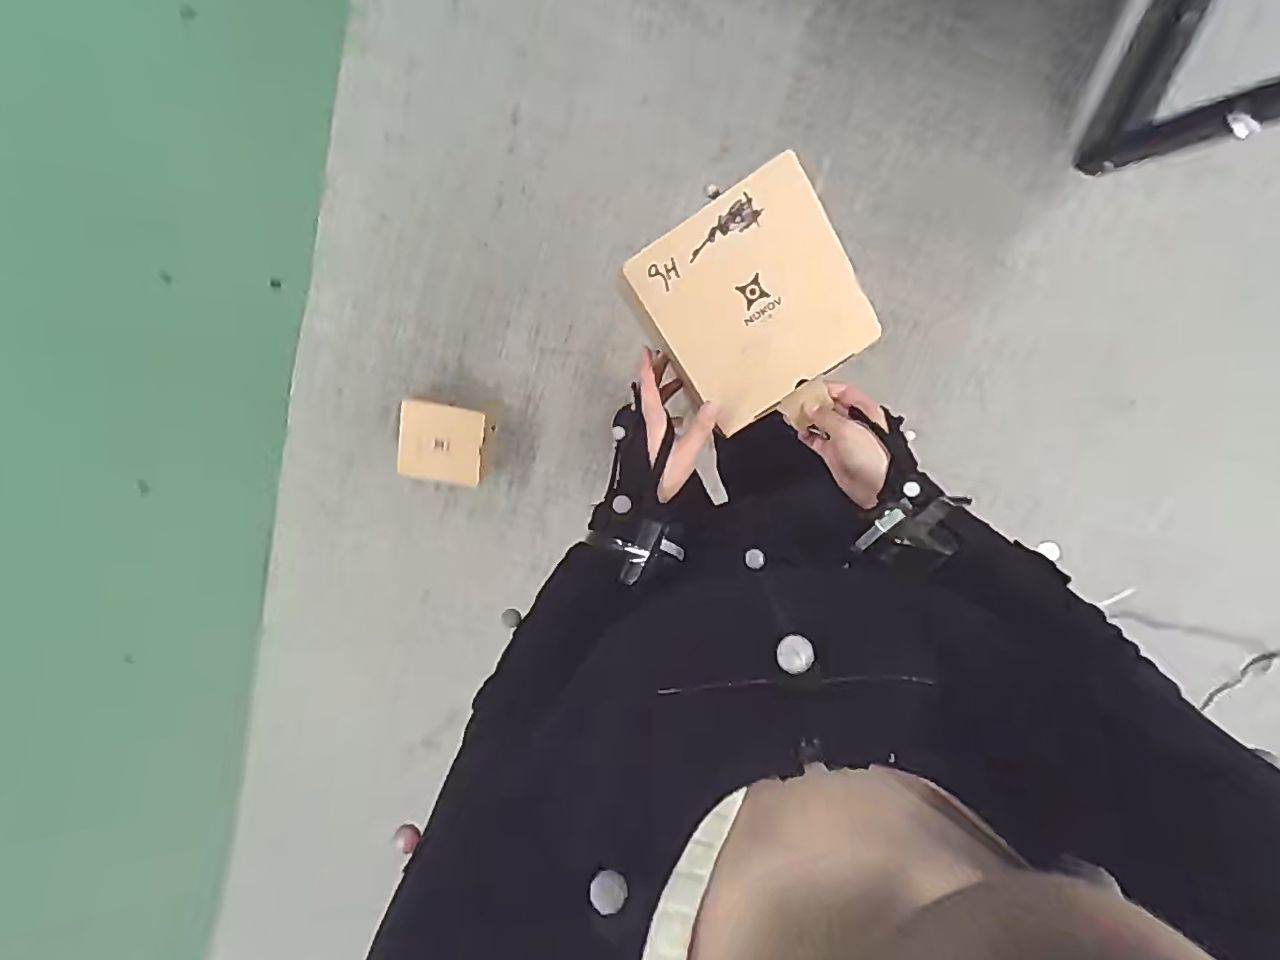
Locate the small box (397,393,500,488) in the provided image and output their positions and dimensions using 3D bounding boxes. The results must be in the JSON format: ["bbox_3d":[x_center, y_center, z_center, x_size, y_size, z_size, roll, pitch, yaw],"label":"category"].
[{"bbox_3d":[-0.419,-0.094,1.206,0.179,0.176,0.168,9,104,-5],"label":"small box"}]

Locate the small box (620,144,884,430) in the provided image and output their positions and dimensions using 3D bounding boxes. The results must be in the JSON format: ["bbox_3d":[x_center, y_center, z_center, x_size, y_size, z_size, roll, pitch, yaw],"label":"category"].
[{"bbox_3d":[0.094,-0.177,0.528,0.168,0.176,0.179,-33,106,5],"label":"small box"}]
